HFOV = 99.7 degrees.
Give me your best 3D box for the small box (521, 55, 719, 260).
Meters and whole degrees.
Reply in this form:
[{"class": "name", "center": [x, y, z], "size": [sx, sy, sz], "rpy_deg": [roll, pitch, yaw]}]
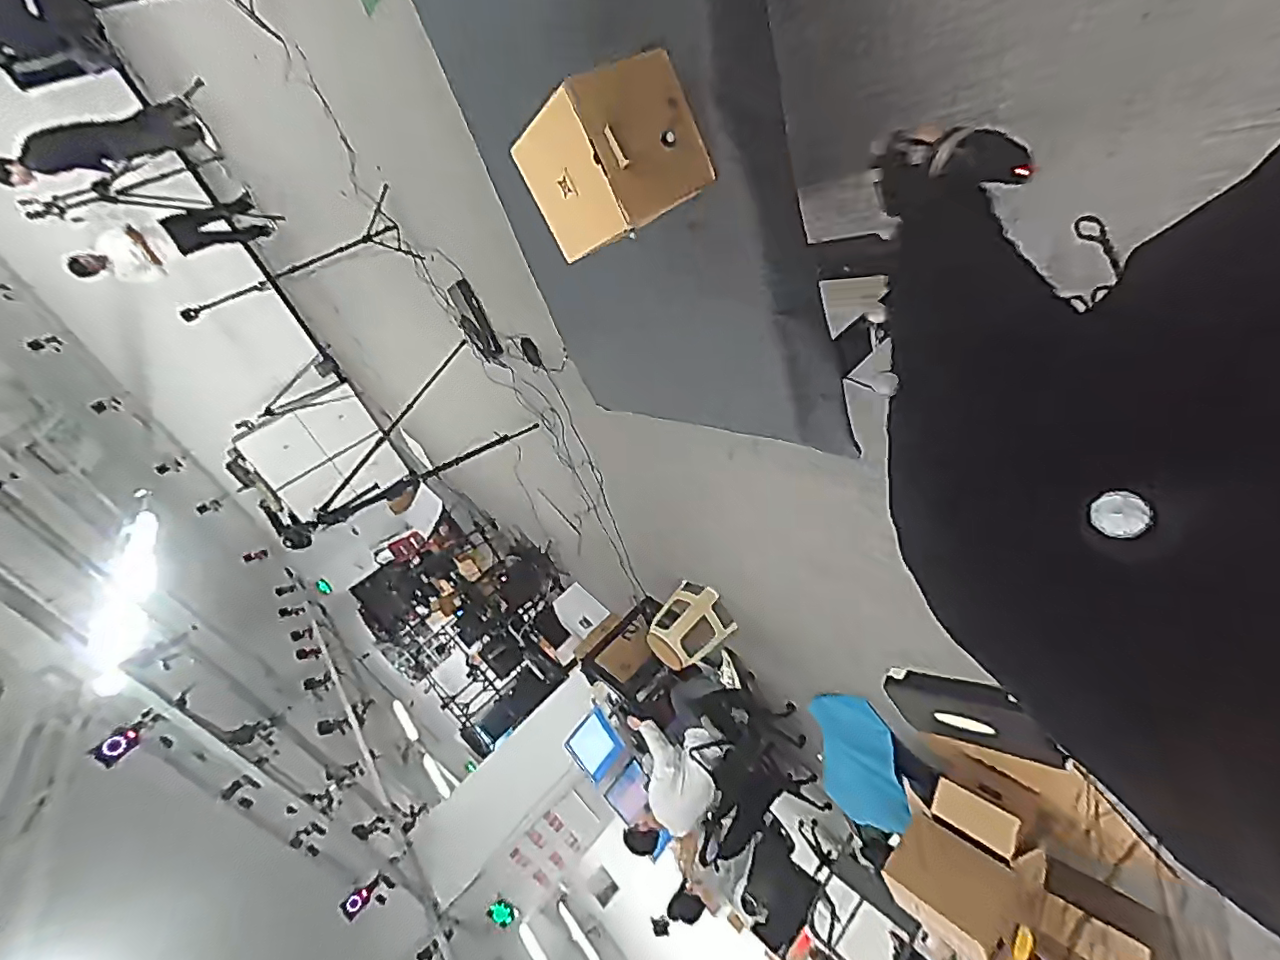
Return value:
[{"class": "small box", "center": [-0.026, -0.429, 0.736], "size": [0.179, 0.176, 0.168], "rpy_deg": [6, 129, 57]}]
